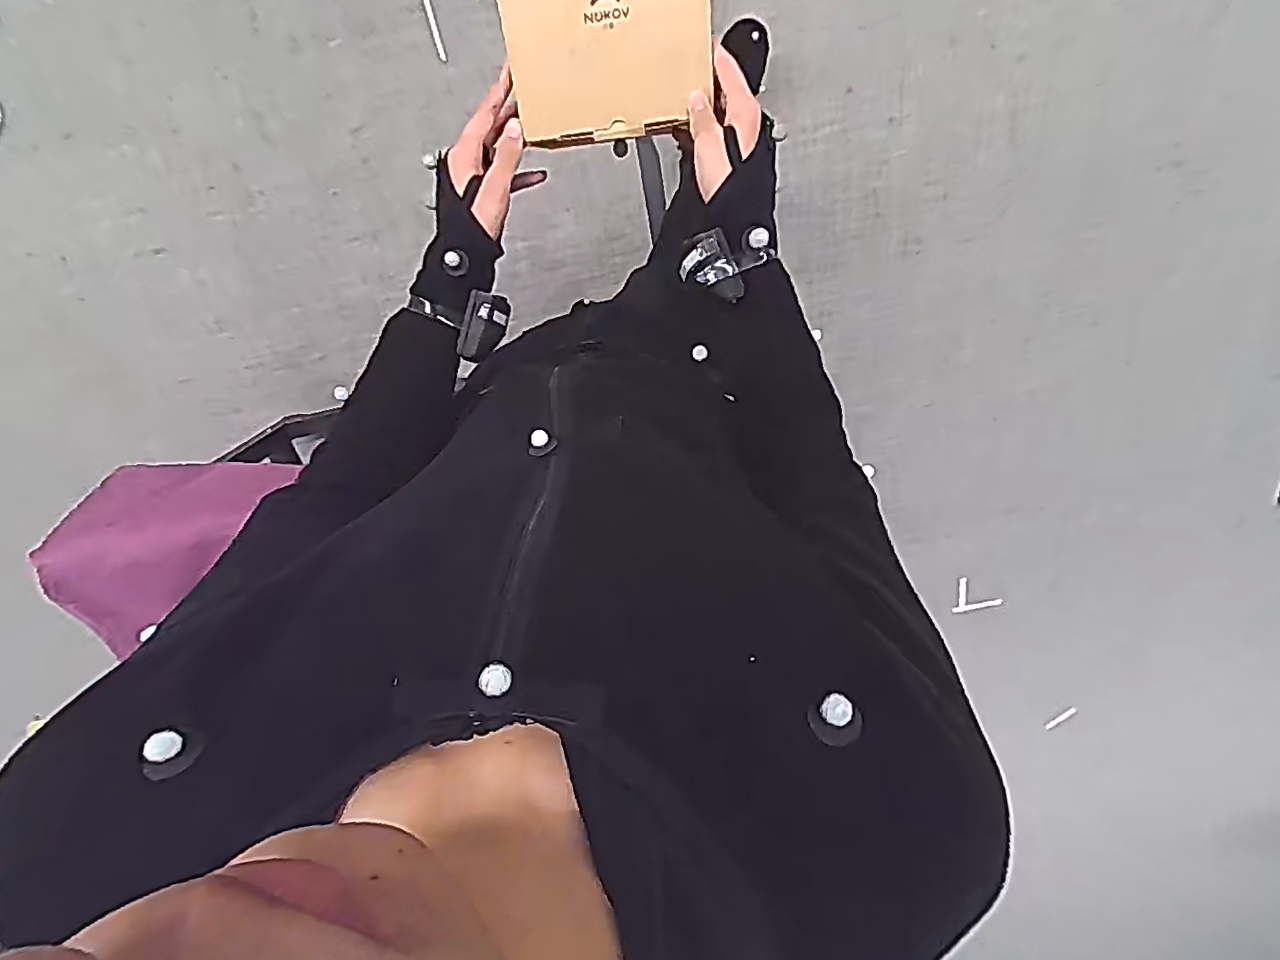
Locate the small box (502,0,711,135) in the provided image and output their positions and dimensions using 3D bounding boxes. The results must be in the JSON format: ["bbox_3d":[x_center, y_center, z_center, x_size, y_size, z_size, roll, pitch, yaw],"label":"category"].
[{"bbox_3d":[-0.029,-0.424,0.489,0.168,0.176,0.179,-7,121,2],"label":"small box"}]
